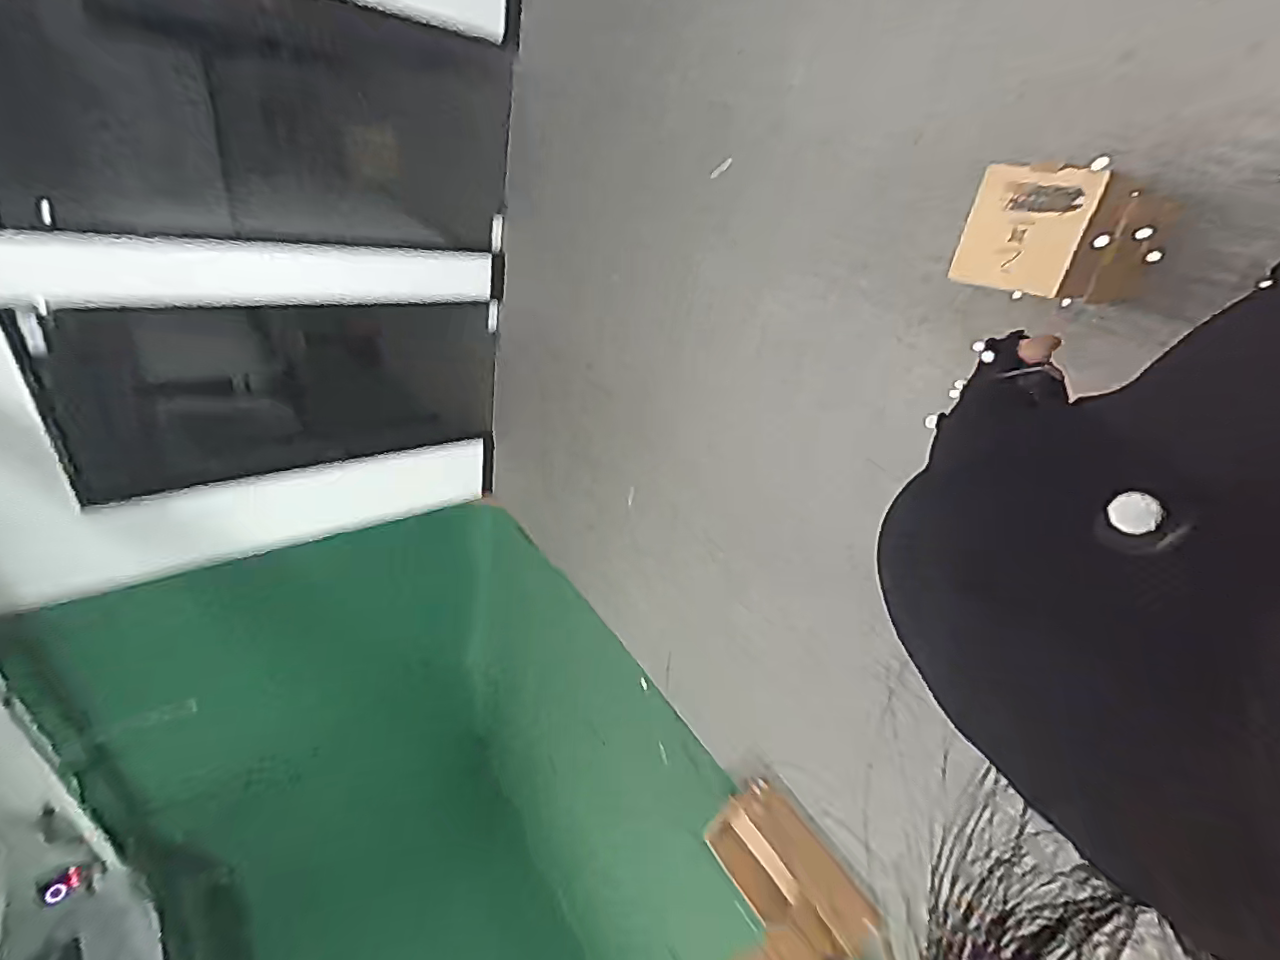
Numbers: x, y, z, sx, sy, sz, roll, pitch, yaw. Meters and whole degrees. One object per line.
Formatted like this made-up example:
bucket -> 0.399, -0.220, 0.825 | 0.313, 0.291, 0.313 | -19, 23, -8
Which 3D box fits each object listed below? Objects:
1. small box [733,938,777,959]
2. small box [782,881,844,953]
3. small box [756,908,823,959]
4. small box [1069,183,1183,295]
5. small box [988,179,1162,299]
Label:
small box -> 0.399, 1.753, 1.885 | 0.179, 0.176, 0.168 | 44, 133, 35
small box -> 0.656, 1.702, 2.085 | 0.168, 0.176, 0.179 | 44, 132, 36
small box -> 0.533, 1.729, 1.979 | 0.179, 0.176, 0.168 | 45, 133, 36
small box -> 0.922, -0.479, 1.078 | 0.179, 0.176, 0.168 | 40, 131, 38
small box -> 0.793, -0.437, 0.987 | 0.179, 0.176, 0.168 | 39, 129, 40
